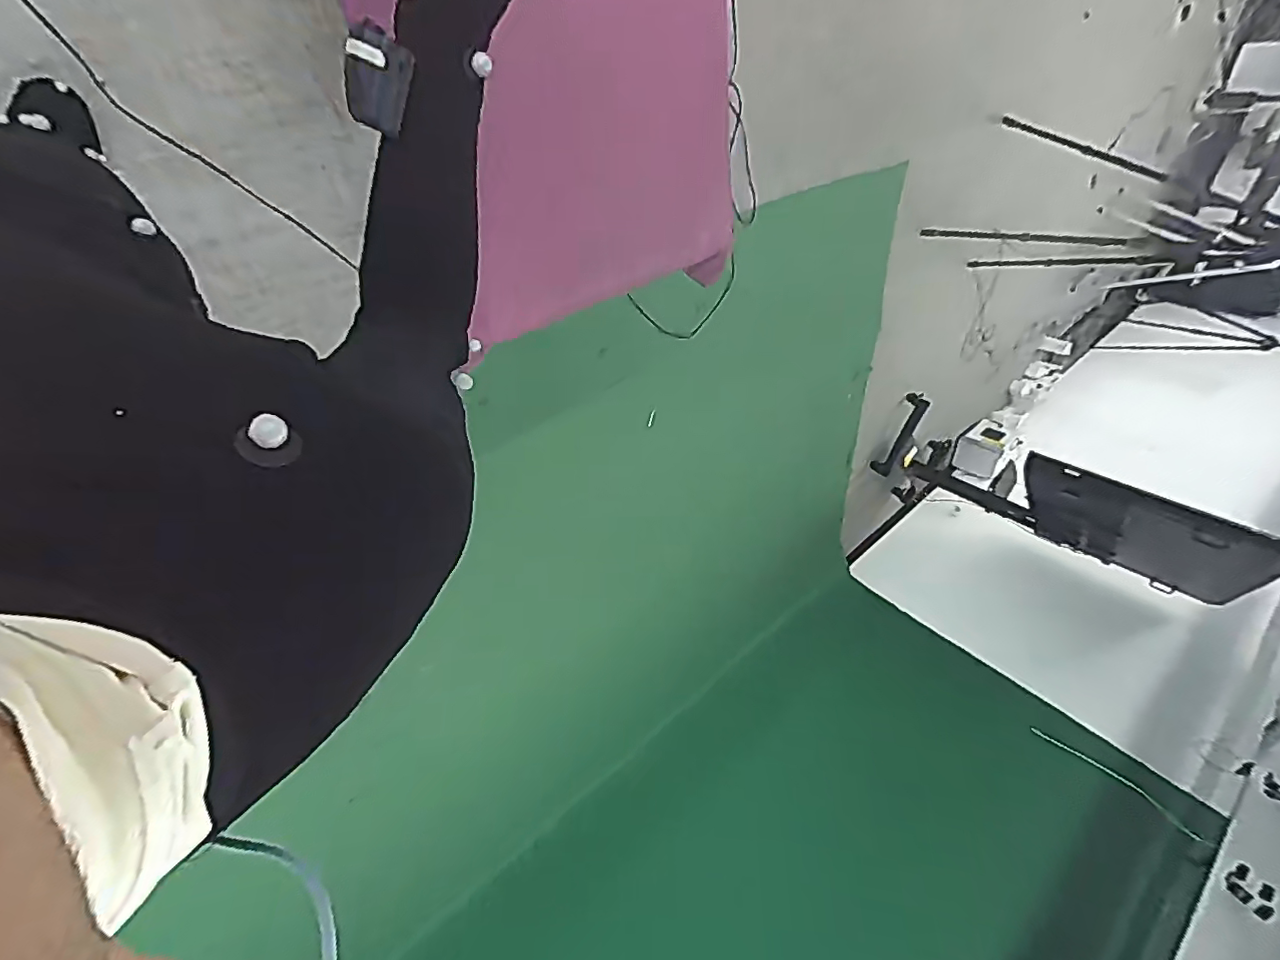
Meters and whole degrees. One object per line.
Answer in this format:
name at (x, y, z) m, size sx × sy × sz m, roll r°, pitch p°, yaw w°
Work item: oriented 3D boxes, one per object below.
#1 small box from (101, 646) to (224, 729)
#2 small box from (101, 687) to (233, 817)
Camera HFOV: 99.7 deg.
small box at (-1.183, 0.543, 1.344) m, size 0.168 × 0.176 × 0.179 m, roll -30°, pitch 133°, yaw -25°
small box at (-1.077, 0.615, 1.240) m, size 0.168 × 0.176 × 0.179 m, roll -30°, pitch 133°, yaw -27°
